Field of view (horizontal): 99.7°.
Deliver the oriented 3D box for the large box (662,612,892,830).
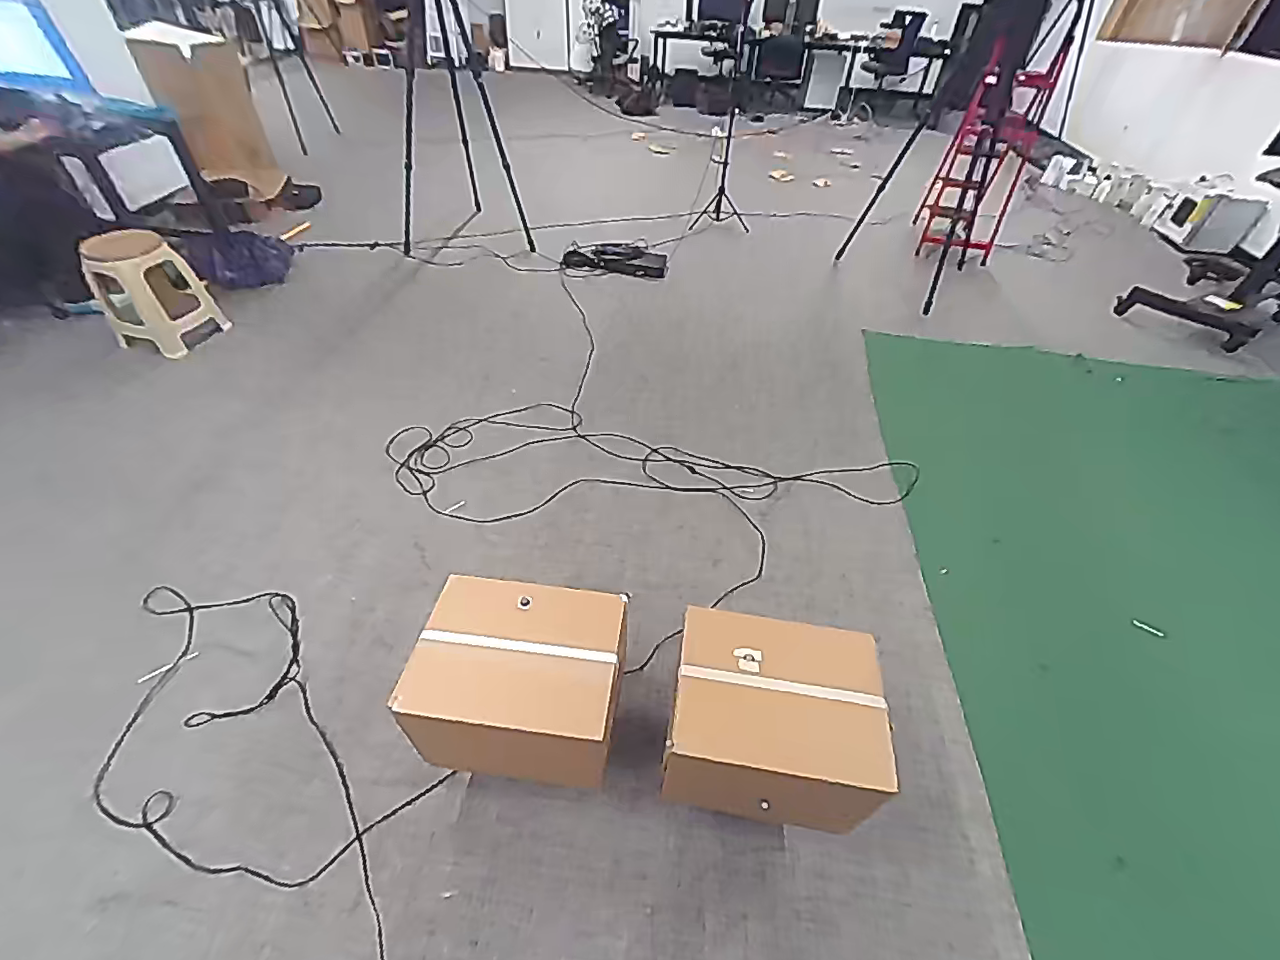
[{"bbox_3d":[0.273,0.528,1.183,0.408,0.320,0.320,8,45,5],"label":"large box"}]
